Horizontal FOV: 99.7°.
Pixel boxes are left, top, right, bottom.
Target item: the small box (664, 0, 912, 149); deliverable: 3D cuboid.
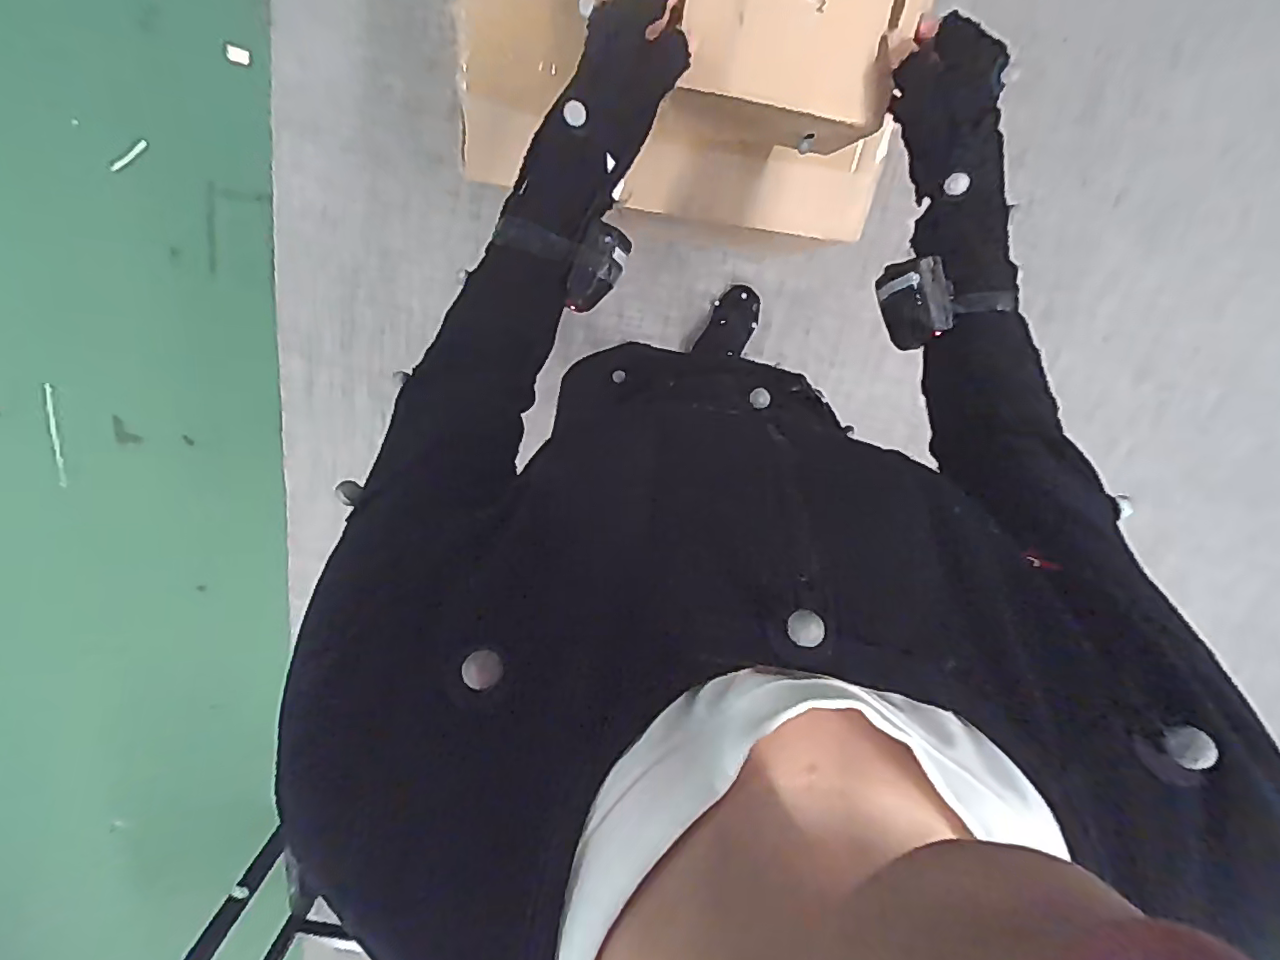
[{"bbox_3d":[0.122,-0.404,0.471,0.179,0.176,0.168,10,114,0],"label":"small box"}]
